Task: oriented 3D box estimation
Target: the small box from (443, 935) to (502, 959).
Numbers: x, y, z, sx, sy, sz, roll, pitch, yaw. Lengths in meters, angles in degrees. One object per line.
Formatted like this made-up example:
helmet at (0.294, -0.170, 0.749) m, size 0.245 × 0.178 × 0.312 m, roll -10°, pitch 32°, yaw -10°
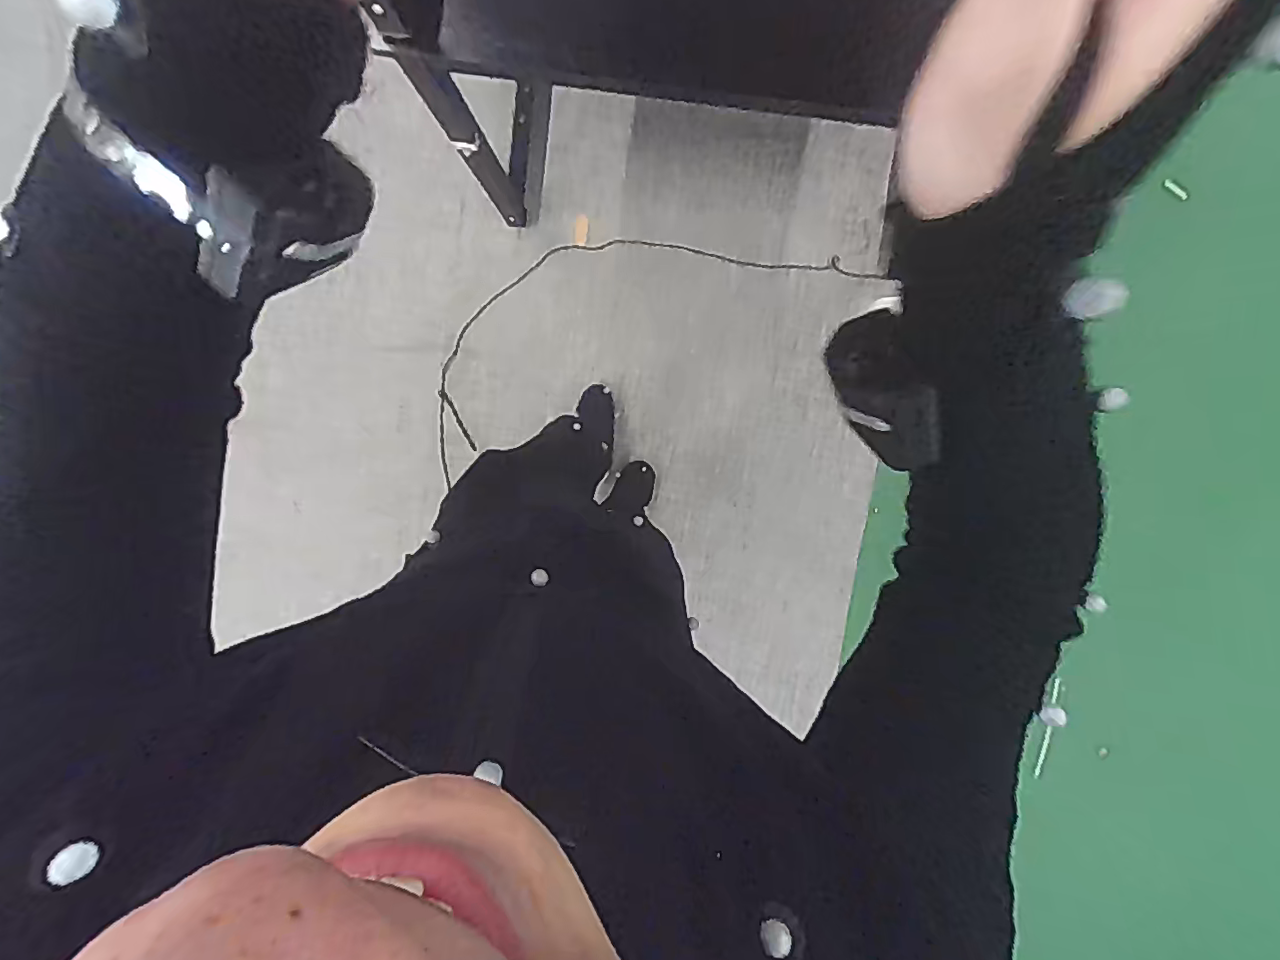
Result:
small box at (-0.516, 1.496, 1.585) m, size 0.168 × 0.176 × 0.179 m, roll 12°, pitch 94°, yaw 0°
